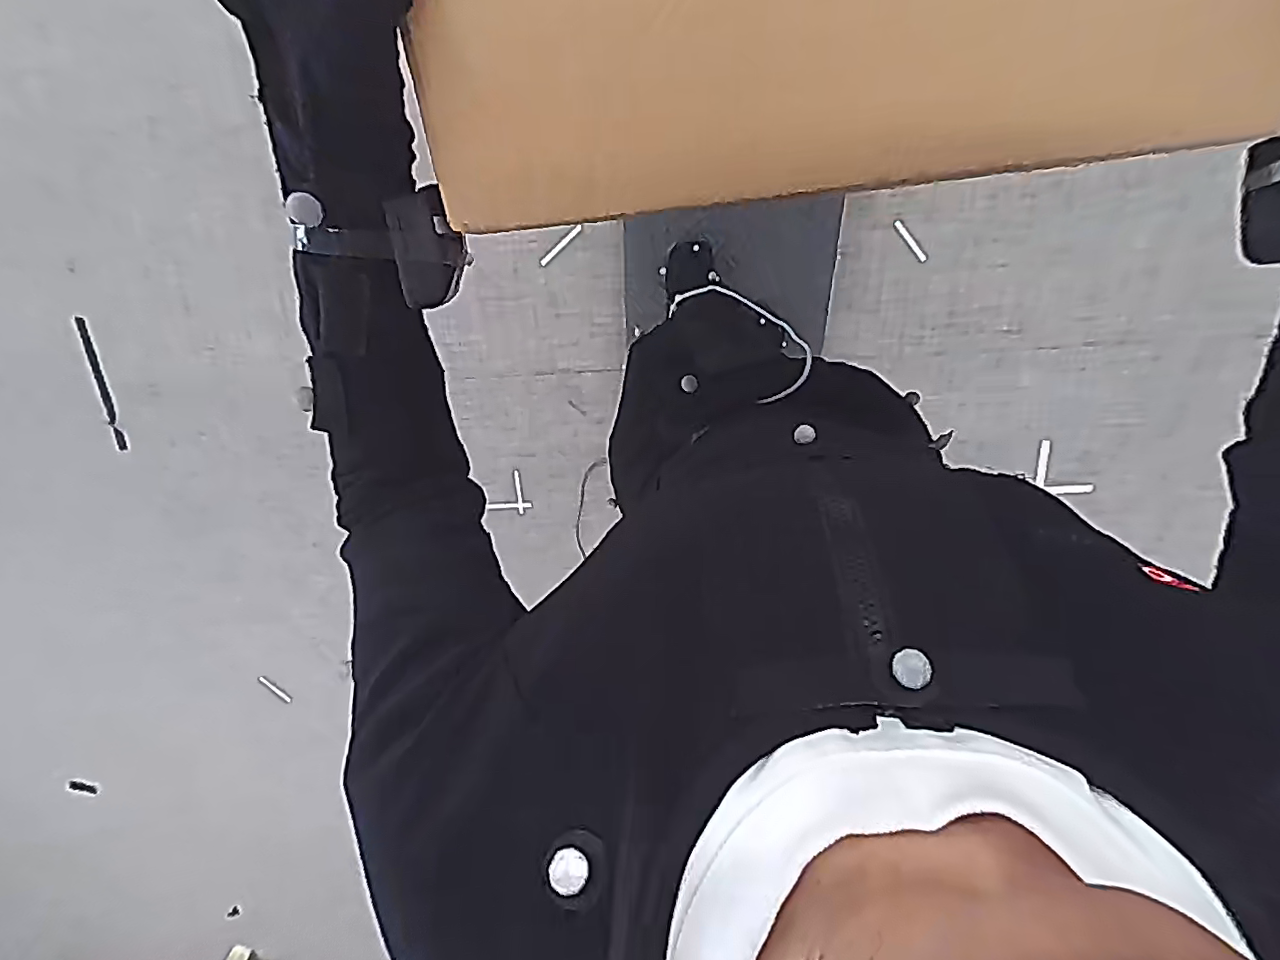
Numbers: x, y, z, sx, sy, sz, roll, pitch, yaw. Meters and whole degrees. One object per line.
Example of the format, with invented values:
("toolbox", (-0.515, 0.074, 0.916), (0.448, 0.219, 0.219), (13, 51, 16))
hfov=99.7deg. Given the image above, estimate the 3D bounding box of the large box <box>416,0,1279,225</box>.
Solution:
("large box", (0.091, -0.359, 0.343), (0.408, 0.320, 0.320), (-4, 117, 6))
